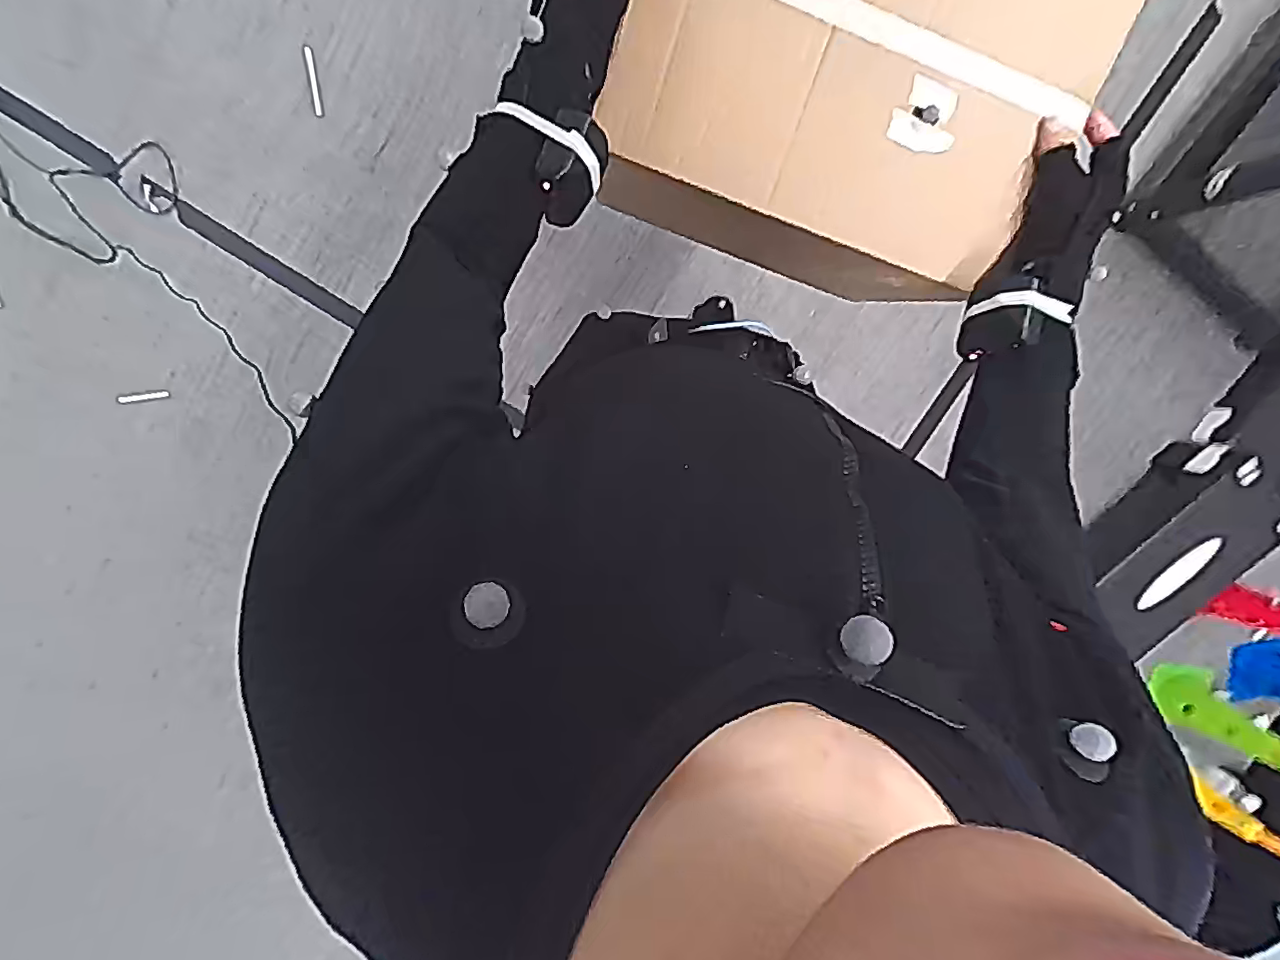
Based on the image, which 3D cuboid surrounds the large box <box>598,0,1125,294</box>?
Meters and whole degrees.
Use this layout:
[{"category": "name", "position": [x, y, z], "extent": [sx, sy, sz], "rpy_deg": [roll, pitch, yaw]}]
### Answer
[{"category": "large box", "position": [0.184, -0.422, 0.599], "extent": [0.408, 0.320, 0.320], "rpy_deg": [17, 108, -9]}]
